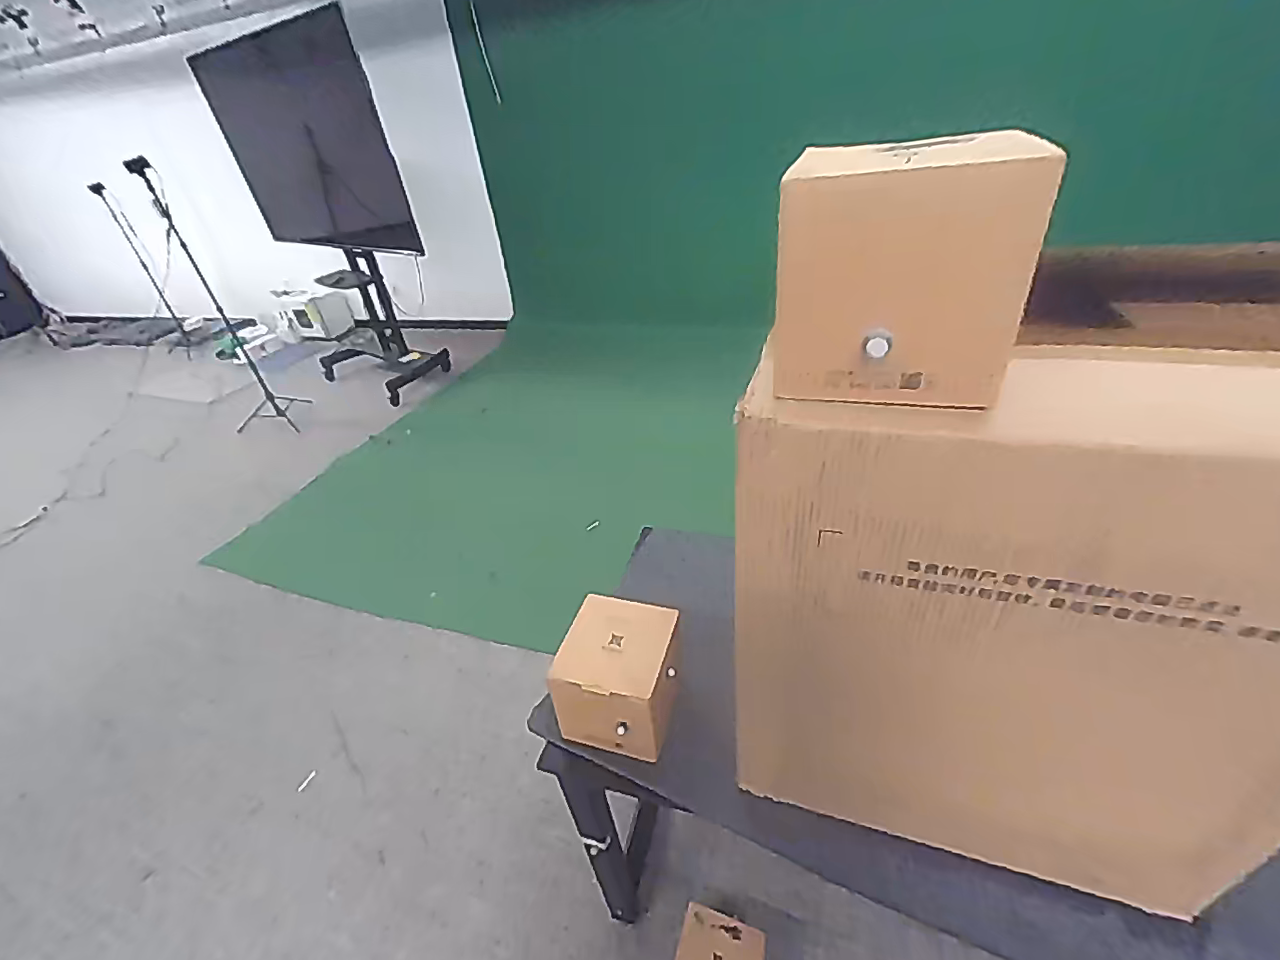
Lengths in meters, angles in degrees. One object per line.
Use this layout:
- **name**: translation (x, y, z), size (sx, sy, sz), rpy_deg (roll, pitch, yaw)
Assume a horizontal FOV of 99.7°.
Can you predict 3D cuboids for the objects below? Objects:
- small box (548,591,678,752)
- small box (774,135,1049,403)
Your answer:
- **small box**: translation (-0.032, 0.318, 0.904), size (0.168, 0.176, 0.179), rpy_deg (7, 34, 16)
- **small box**: translation (0.210, -0.182, 0.462), size (0.168, 0.176, 0.179), rpy_deg (6, 37, 20)
